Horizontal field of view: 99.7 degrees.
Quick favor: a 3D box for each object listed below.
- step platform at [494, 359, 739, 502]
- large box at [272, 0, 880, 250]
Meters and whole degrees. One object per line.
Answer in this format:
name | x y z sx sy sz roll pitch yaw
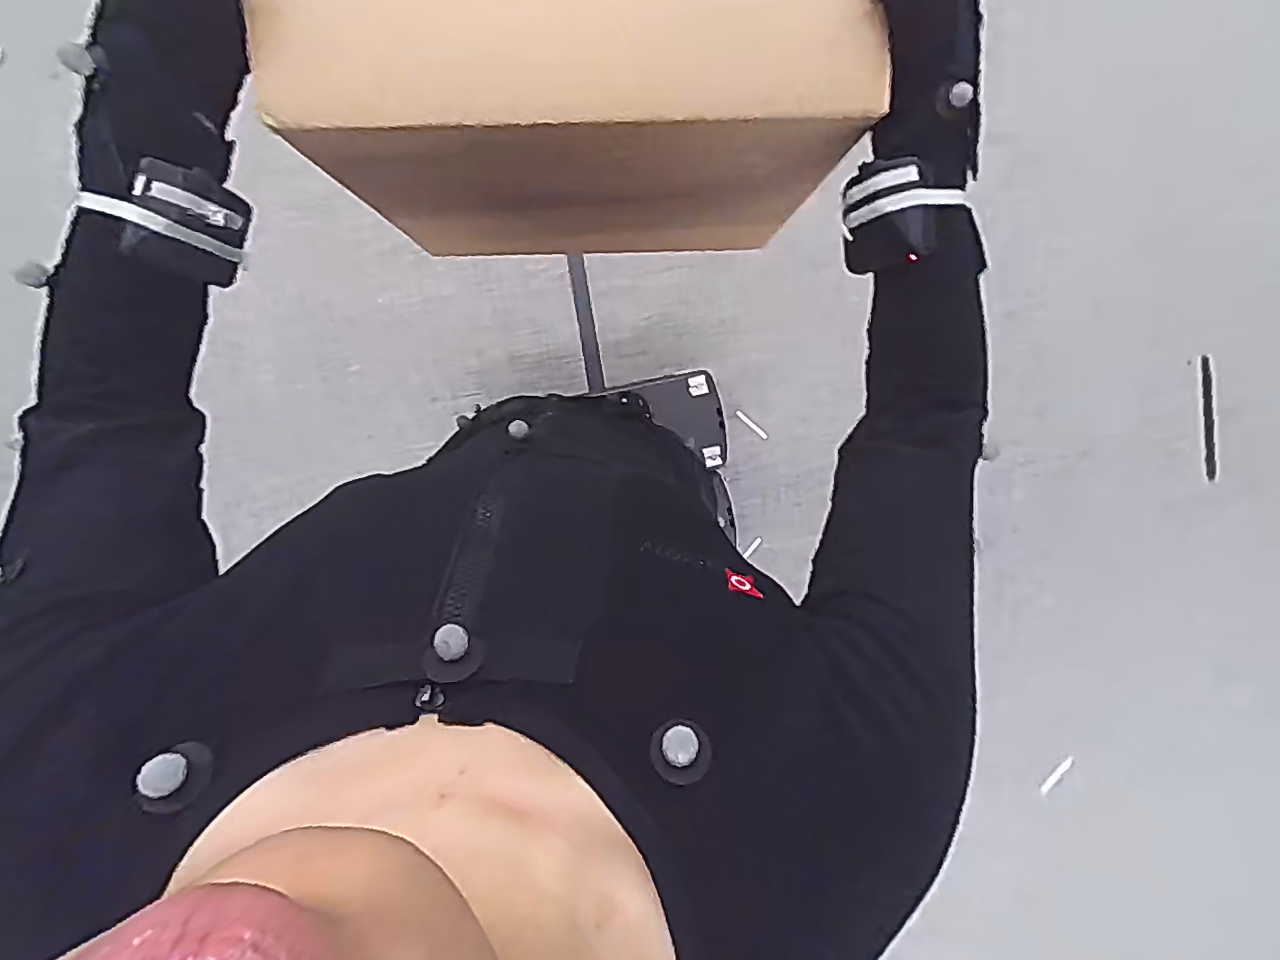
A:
step platform | -0.065 -0.141 1.554 0.684 0.204 0.286 -12 98 0
large box | -0.049 -0.415 0.489 0.408 0.320 0.320 -2 99 -3
